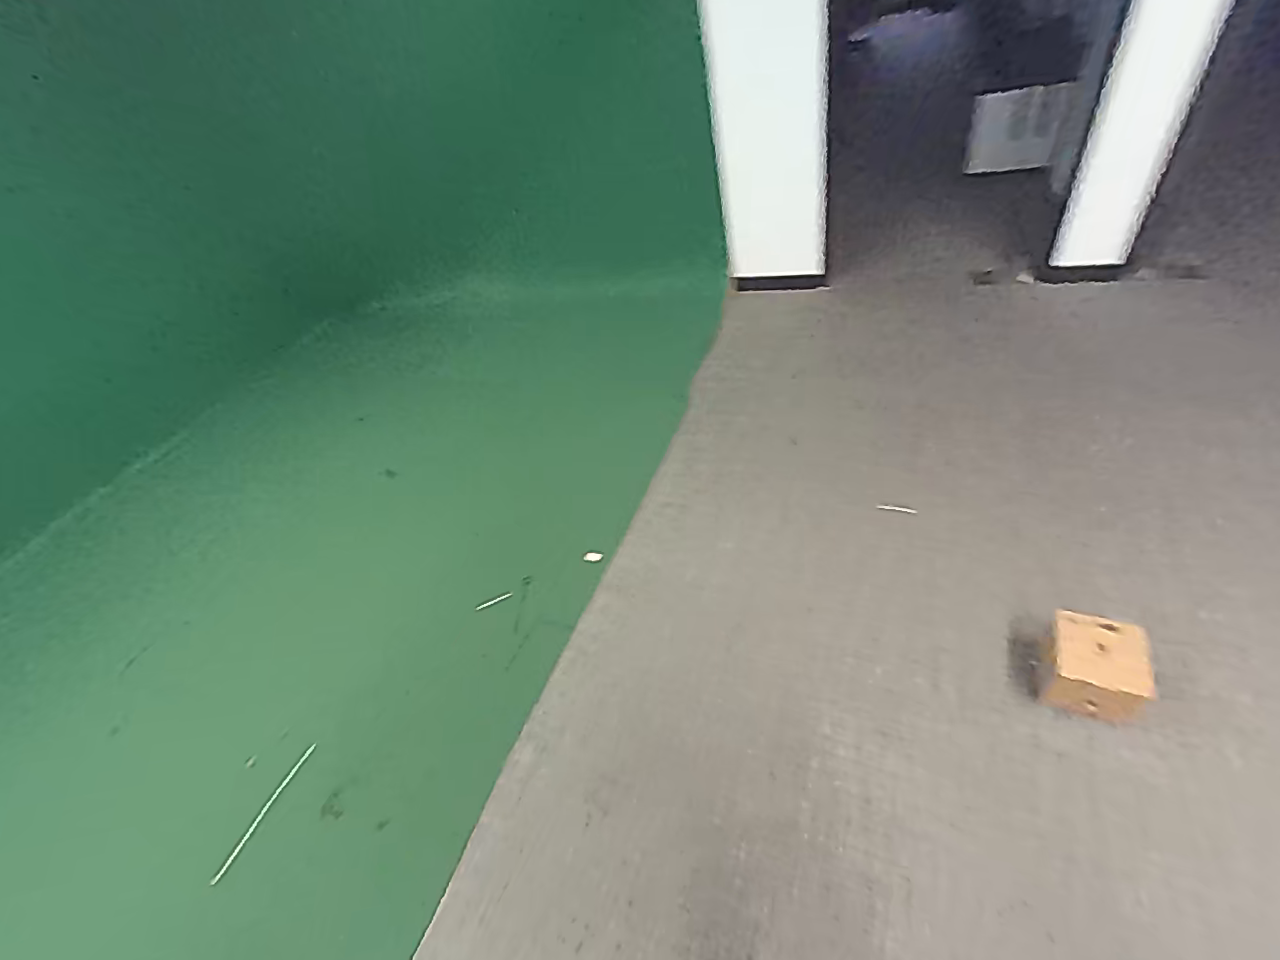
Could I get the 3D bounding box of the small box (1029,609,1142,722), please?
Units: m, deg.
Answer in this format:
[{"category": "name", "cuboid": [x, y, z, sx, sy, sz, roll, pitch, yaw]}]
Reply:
[{"category": "small box", "cuboid": [1.039, 0.439, 1.274, 0.168, 0.176, 0.179, 10, 51, 26]}]
